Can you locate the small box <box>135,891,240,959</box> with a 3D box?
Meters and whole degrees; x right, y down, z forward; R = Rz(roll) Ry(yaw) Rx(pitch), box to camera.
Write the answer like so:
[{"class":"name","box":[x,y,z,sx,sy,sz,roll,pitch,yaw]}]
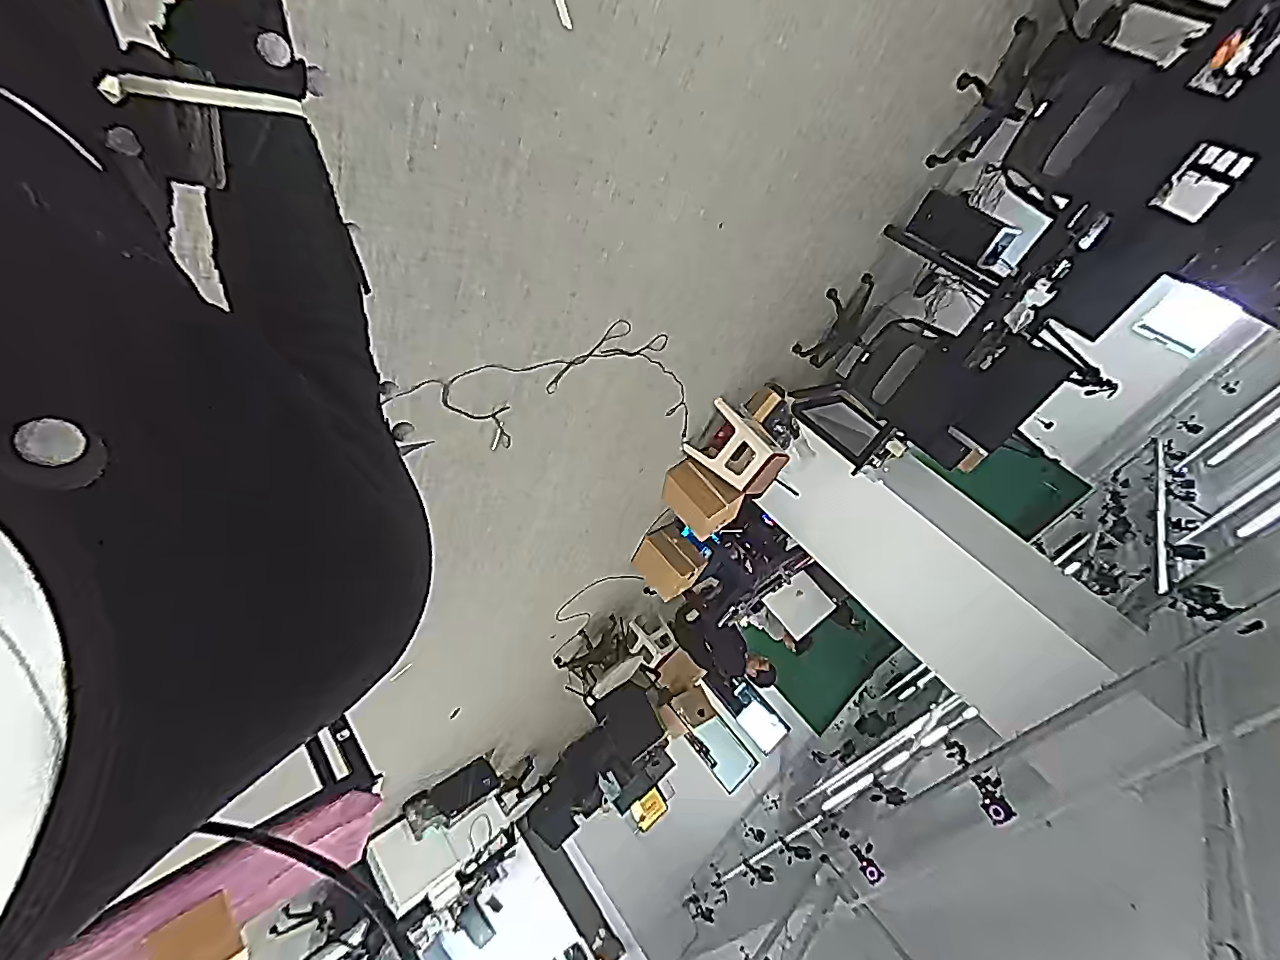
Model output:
[{"class":"small box","box":[-1.184,1.235,1.420,0.179,0.176,0.168,-16,144,-46]}]
